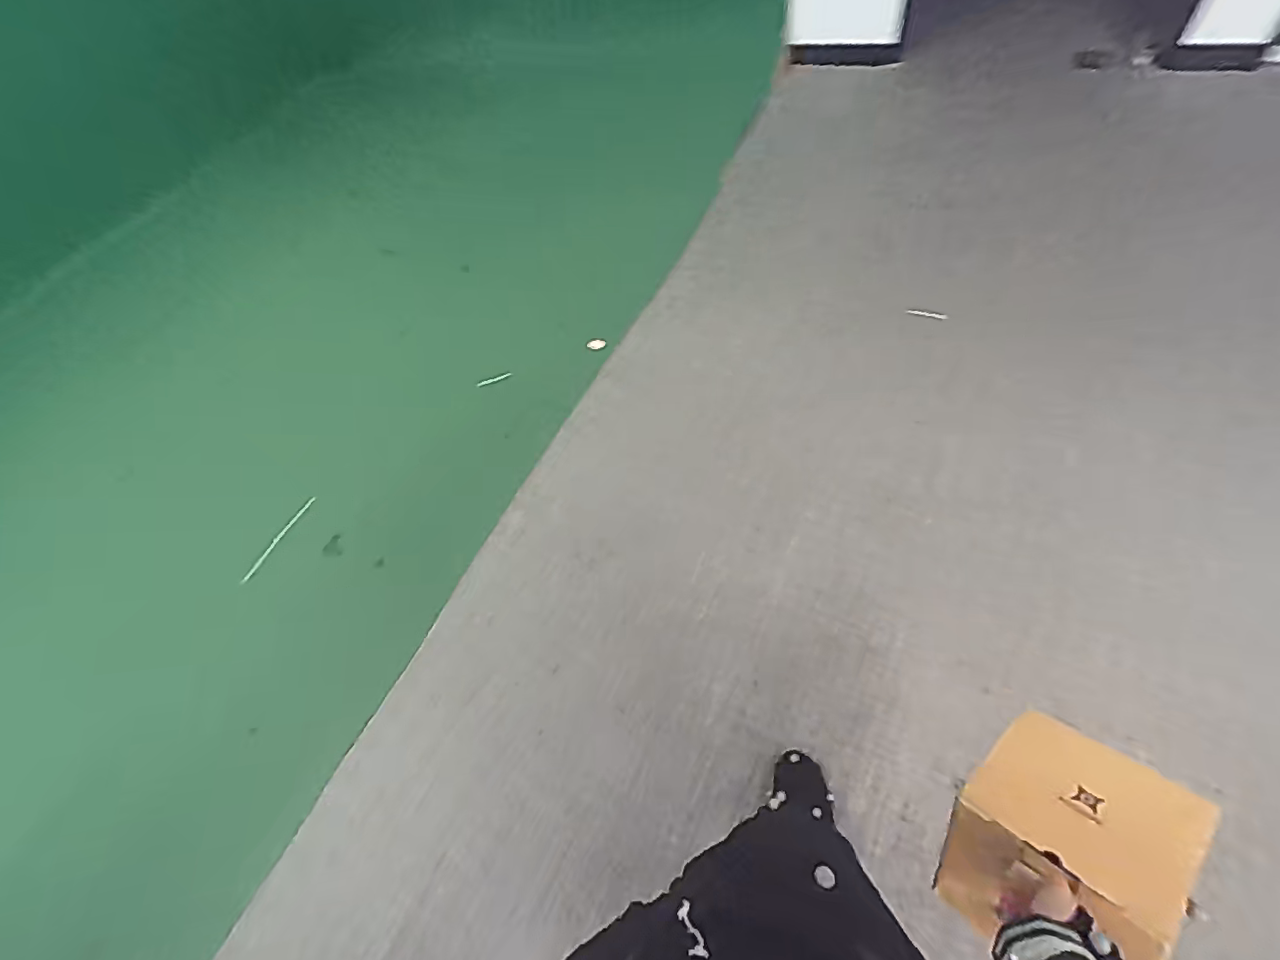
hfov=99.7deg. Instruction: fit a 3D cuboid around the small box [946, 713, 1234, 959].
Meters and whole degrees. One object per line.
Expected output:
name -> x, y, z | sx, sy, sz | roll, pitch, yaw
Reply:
small box -> 0.443, 0.390, 0.553 | 0.179, 0.176, 0.168 | -20, 30, -32
